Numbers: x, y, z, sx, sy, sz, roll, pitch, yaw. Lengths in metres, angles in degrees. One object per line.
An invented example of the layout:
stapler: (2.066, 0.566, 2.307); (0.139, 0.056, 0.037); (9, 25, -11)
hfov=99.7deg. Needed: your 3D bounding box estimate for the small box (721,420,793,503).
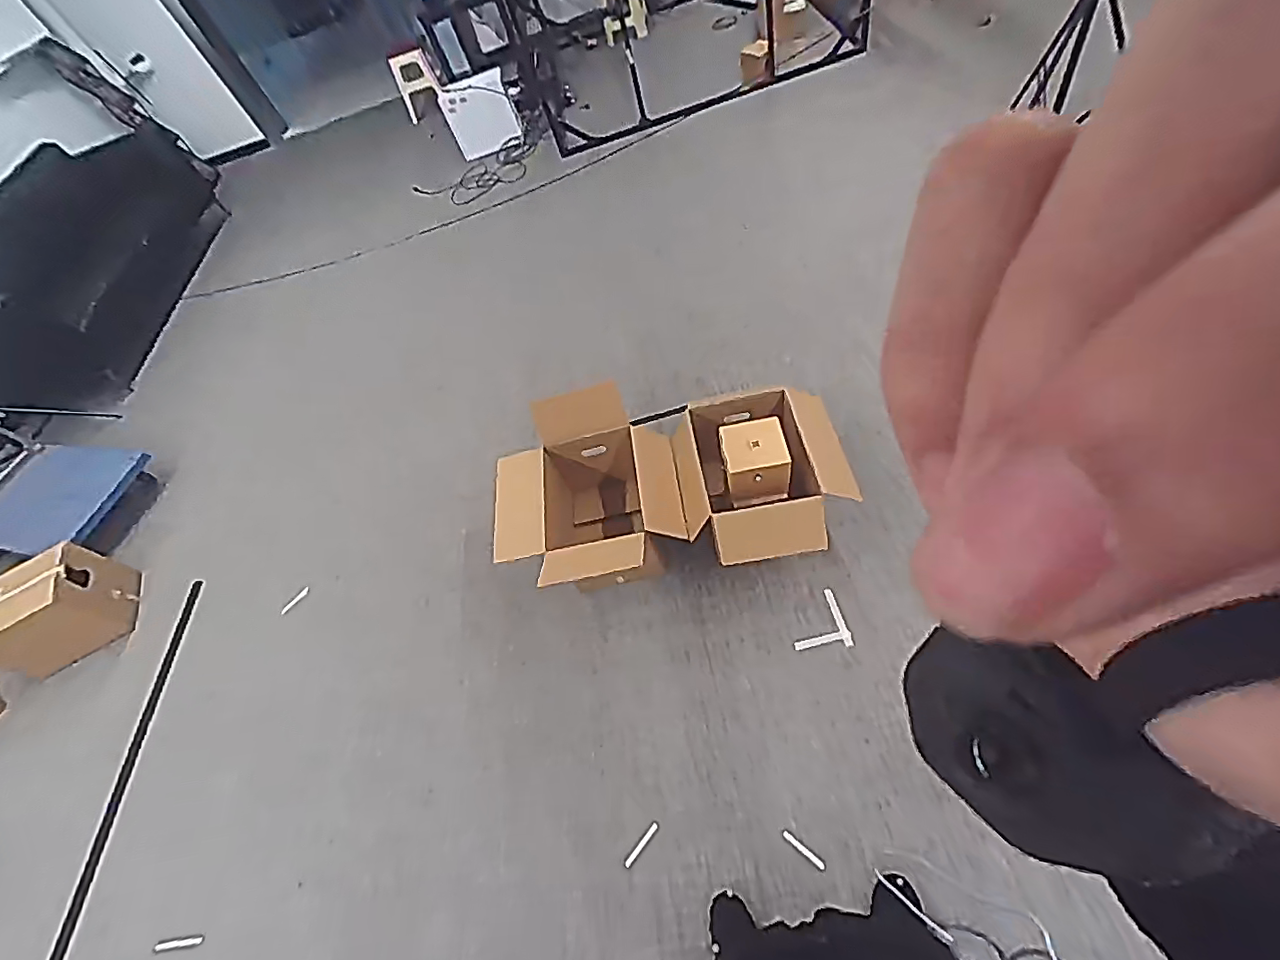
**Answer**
small box: (0.341, -0.051, 1.592); (0.179, 0.176, 0.168); (-11, 56, 7)
